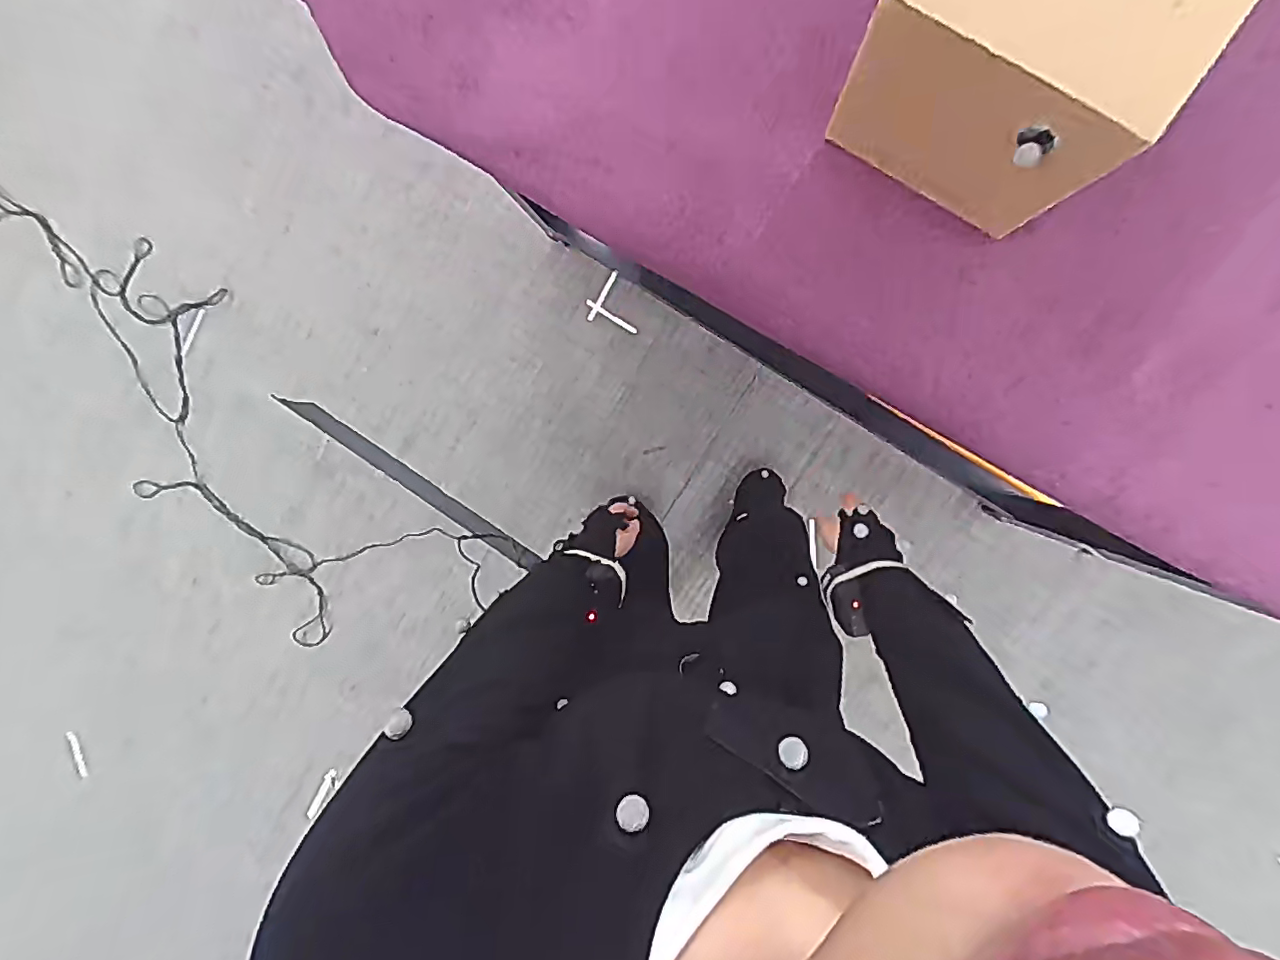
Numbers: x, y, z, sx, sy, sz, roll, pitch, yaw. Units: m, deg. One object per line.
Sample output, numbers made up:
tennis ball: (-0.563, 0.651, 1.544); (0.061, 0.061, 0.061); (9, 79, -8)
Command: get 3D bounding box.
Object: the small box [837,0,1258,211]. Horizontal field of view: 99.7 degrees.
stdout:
small box: (0.266, -0.314, 0.365); (0.179, 0.176, 0.168); (33, 99, 3)
